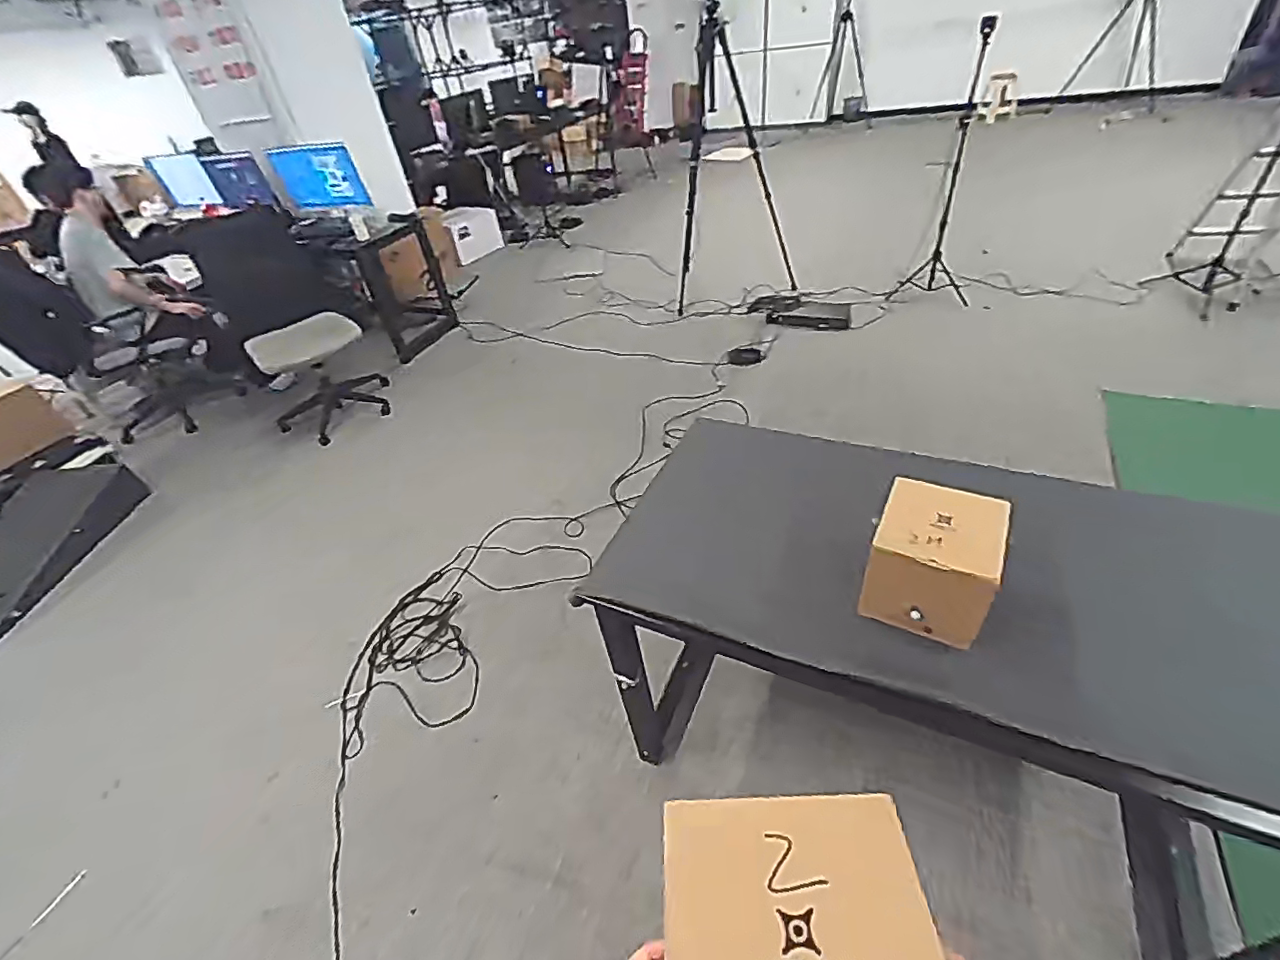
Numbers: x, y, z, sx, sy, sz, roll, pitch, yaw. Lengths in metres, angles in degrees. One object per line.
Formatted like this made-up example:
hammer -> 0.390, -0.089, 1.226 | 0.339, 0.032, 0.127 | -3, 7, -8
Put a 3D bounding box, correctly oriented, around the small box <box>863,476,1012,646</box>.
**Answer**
small box -> 0.466, 0.126, 0.861 | 0.168, 0.176, 0.179 | 16, 46, 28
